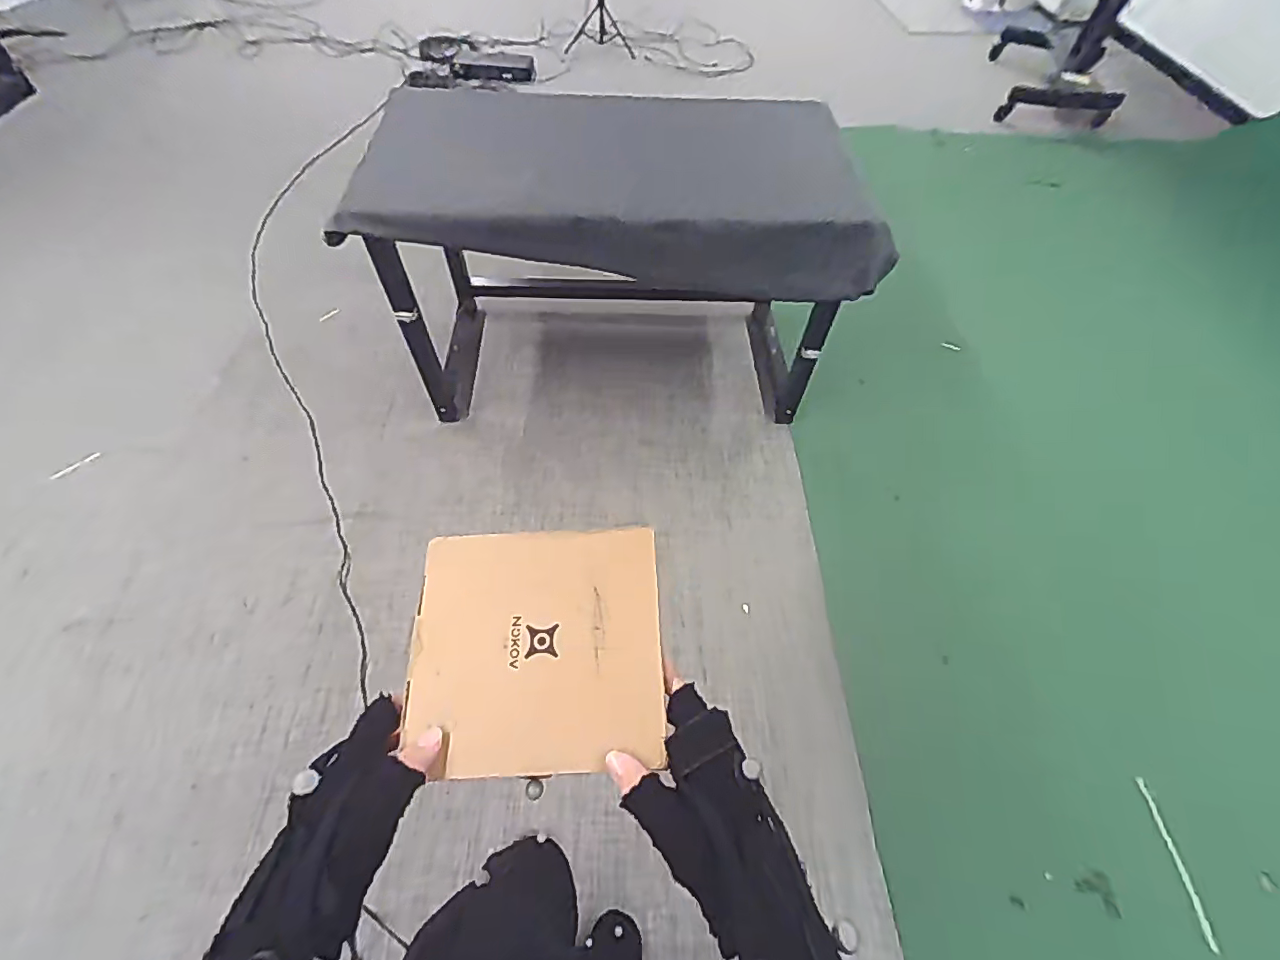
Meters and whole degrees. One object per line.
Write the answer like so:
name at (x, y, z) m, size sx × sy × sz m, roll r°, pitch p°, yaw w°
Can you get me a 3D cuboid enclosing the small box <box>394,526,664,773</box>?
small box at (-0.073, 0.148, 0.449) m, size 0.179 × 0.176 × 0.168 m, roll -2°, pitch 63°, yaw -2°
